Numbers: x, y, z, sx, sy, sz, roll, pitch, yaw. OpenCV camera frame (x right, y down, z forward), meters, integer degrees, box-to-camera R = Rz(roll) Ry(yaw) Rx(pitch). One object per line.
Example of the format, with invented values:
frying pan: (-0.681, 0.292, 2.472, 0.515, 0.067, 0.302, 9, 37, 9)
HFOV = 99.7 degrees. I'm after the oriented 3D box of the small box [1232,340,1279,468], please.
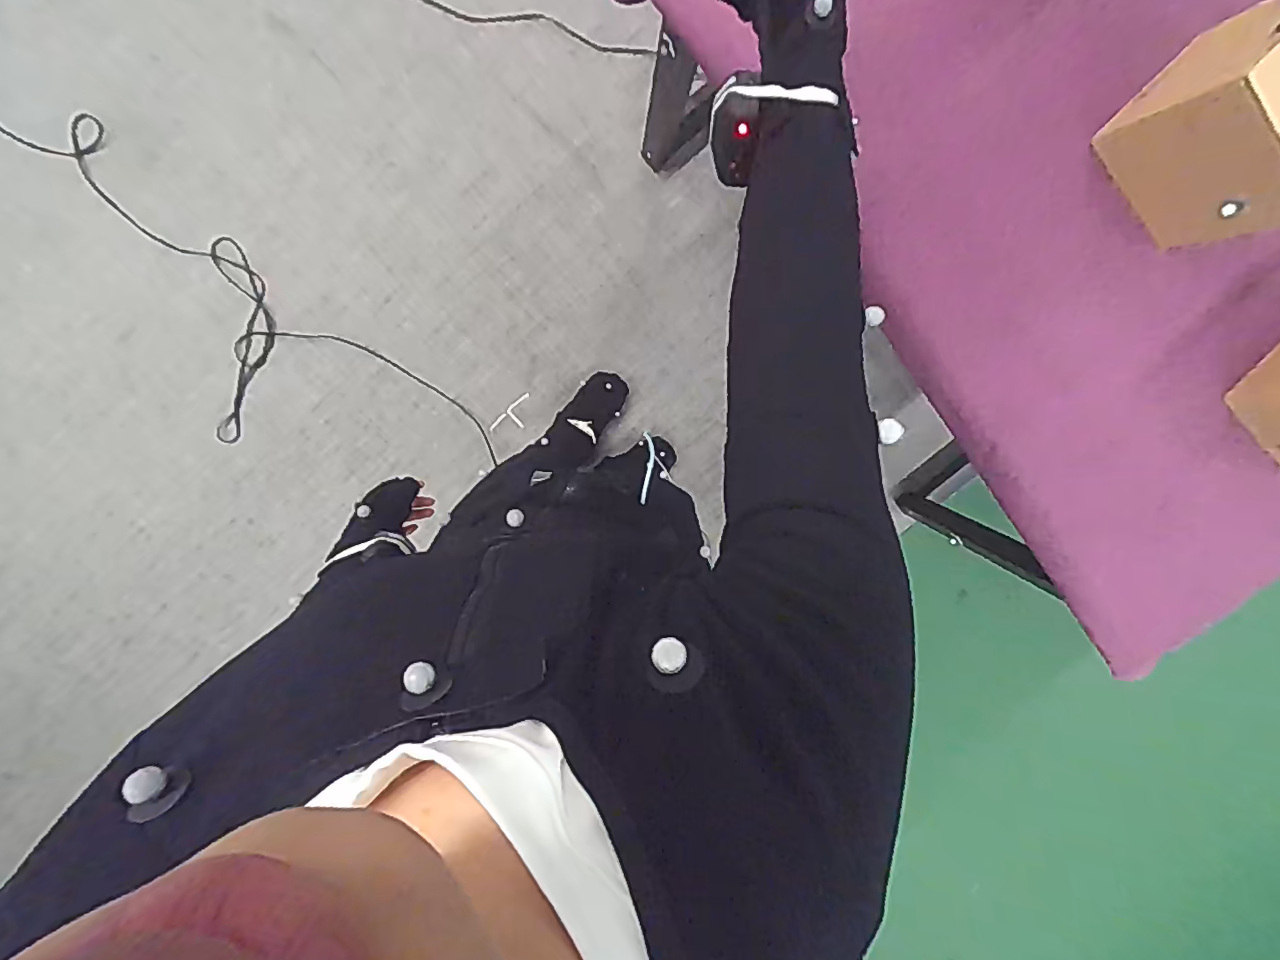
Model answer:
small box: (0.920, -0.106, 0.677, 0.168, 0.176, 0.179, 39, 98, -11)
